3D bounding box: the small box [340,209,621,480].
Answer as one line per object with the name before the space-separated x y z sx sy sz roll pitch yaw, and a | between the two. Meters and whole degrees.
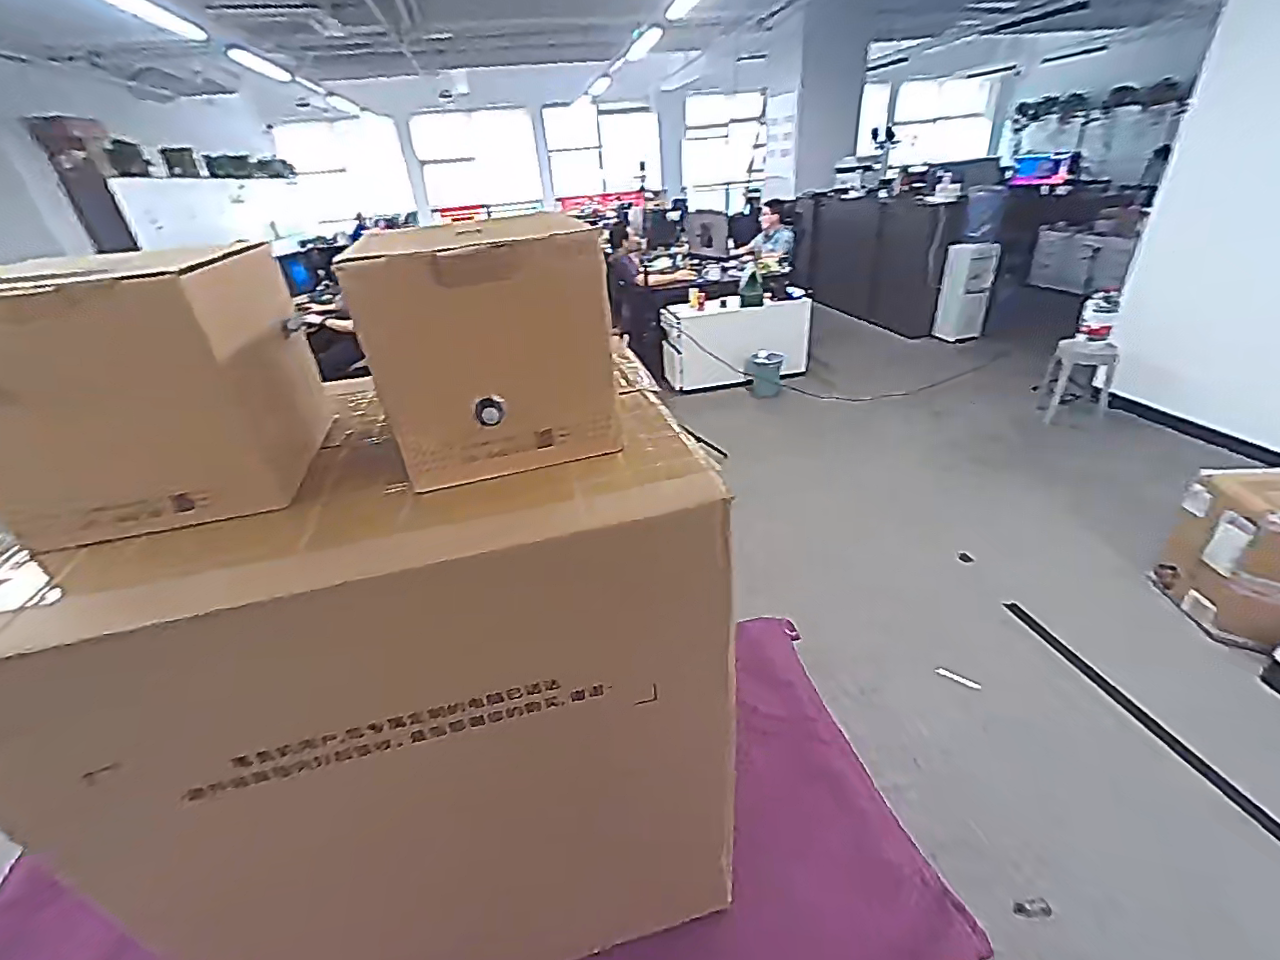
small box | -0.120 -0.121 0.449 0.168 0.176 0.179 -13 32 -12
